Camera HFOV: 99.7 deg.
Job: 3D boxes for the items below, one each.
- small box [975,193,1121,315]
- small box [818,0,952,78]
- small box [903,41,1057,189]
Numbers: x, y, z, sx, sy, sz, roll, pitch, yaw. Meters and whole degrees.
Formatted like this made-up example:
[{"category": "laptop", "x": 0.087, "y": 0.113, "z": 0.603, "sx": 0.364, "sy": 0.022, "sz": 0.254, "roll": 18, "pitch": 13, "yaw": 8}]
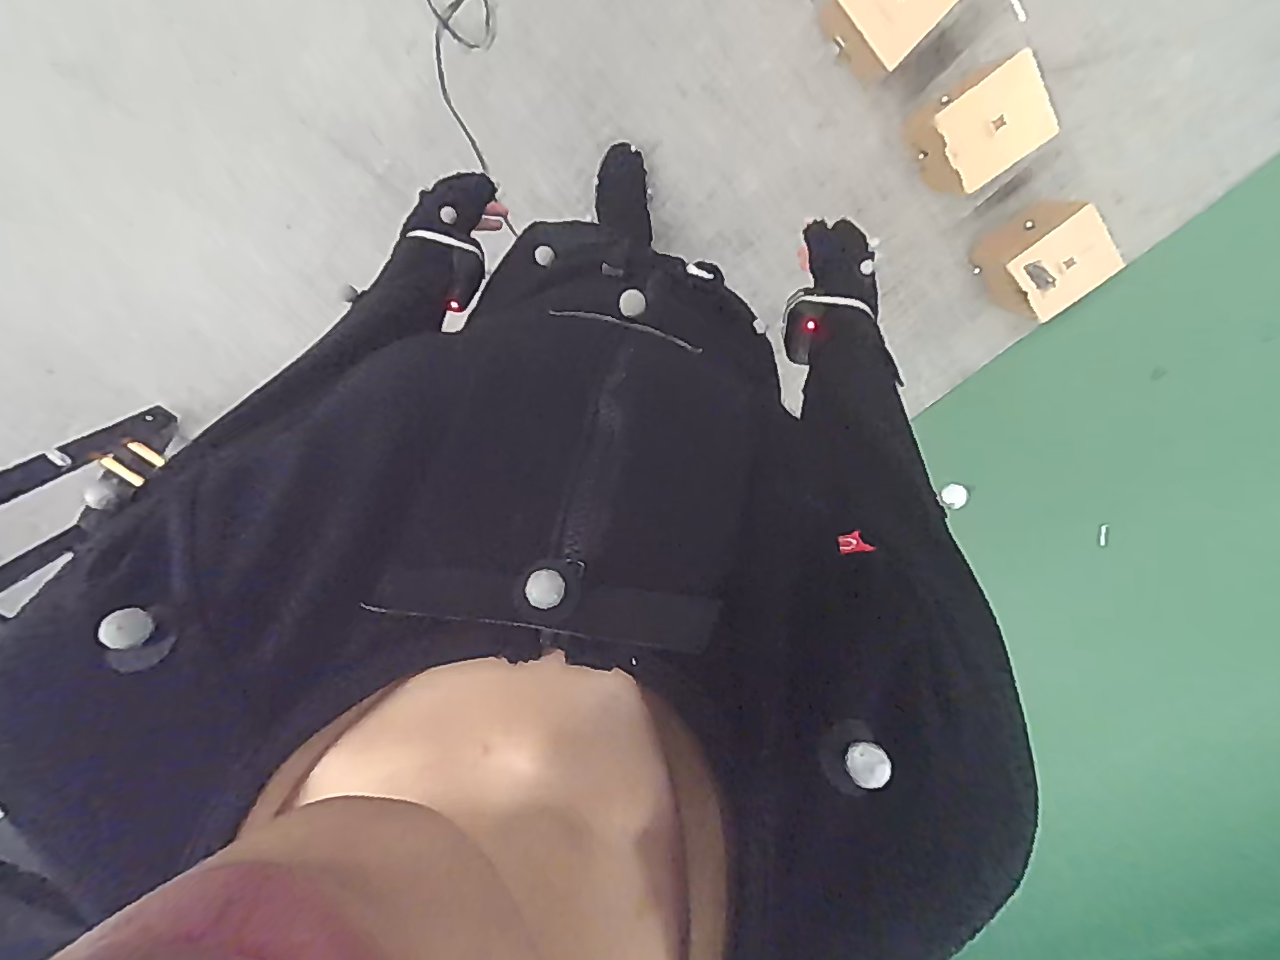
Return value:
[{"category": "small box", "x": 0.869, "y": -0.492, "z": 1.176, "sx": 0.179, "sy": 0.176, "sz": 0.168, "roll": -39, "pitch": 110, "yaw": 21}, {"category": "small box", "x": 0.452, "y": -0.884, "z": 0.983, "sx": 0.168, "sy": 0.176, "sz": 0.179, "roll": 40, "pitch": 116, "yaw": -15}, {"category": "small box", "x": 0.660, "y": -0.708, "z": 1.069, "sx": 0.179, "sy": 0.176, "sz": 0.168, "roll": -33, "pitch": 112, "yaw": 20}]
